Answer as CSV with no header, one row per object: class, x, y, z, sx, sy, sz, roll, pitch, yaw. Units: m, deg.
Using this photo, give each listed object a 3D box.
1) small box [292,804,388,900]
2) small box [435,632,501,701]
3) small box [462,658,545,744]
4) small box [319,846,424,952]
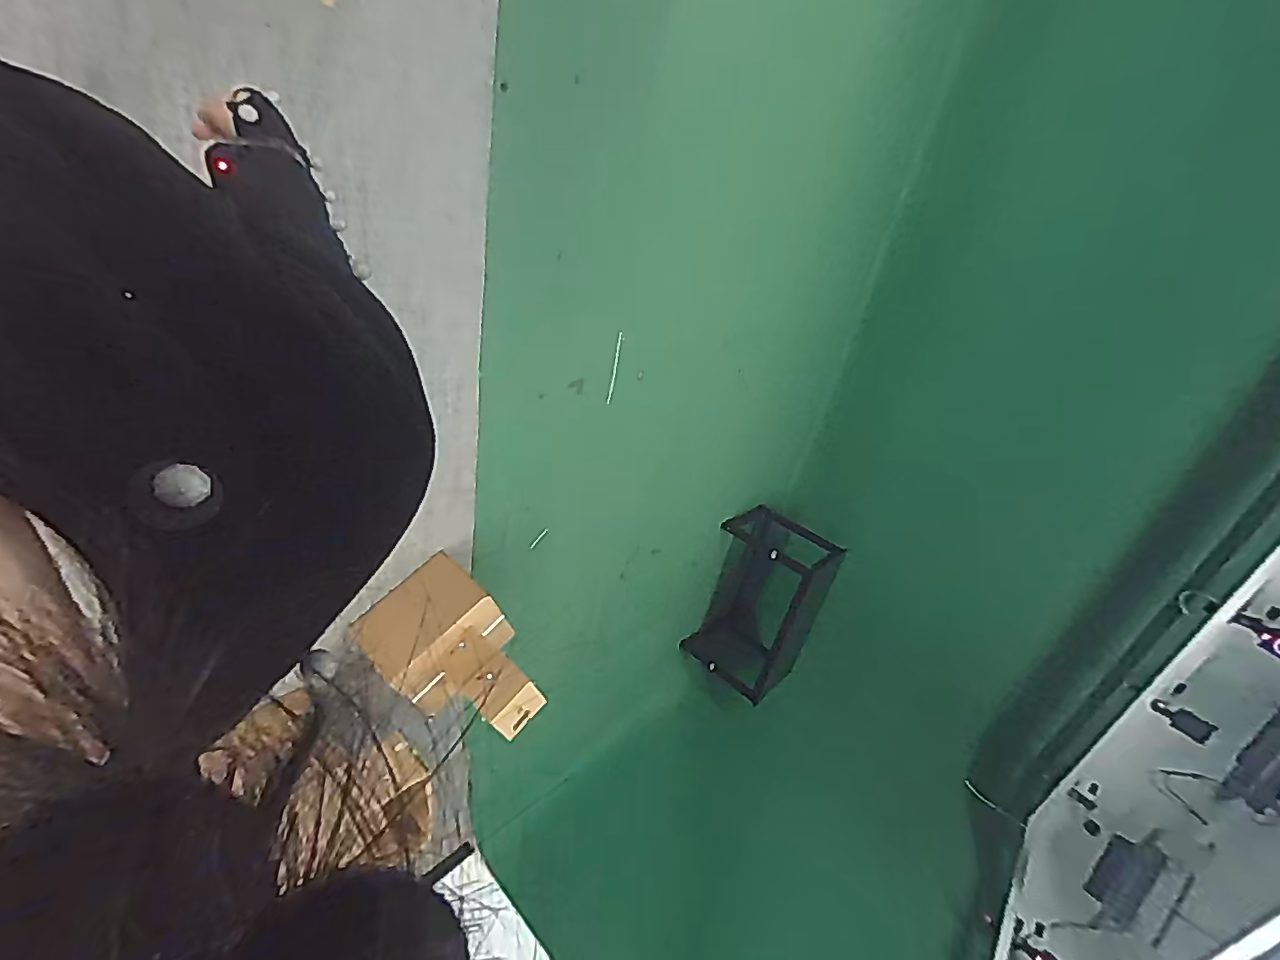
small box,-0.875,1.093,1.583,0.168,0.176,0.179,-40,143,-27
small box,-0.560,0.650,1.849,0.168,0.176,0.179,-46,145,-21
small box,-0.442,0.712,1.752,0.168,0.176,0.179,-43,143,-25
small box,-0.746,1.162,1.507,0.168,0.176,0.179,-44,145,-22
